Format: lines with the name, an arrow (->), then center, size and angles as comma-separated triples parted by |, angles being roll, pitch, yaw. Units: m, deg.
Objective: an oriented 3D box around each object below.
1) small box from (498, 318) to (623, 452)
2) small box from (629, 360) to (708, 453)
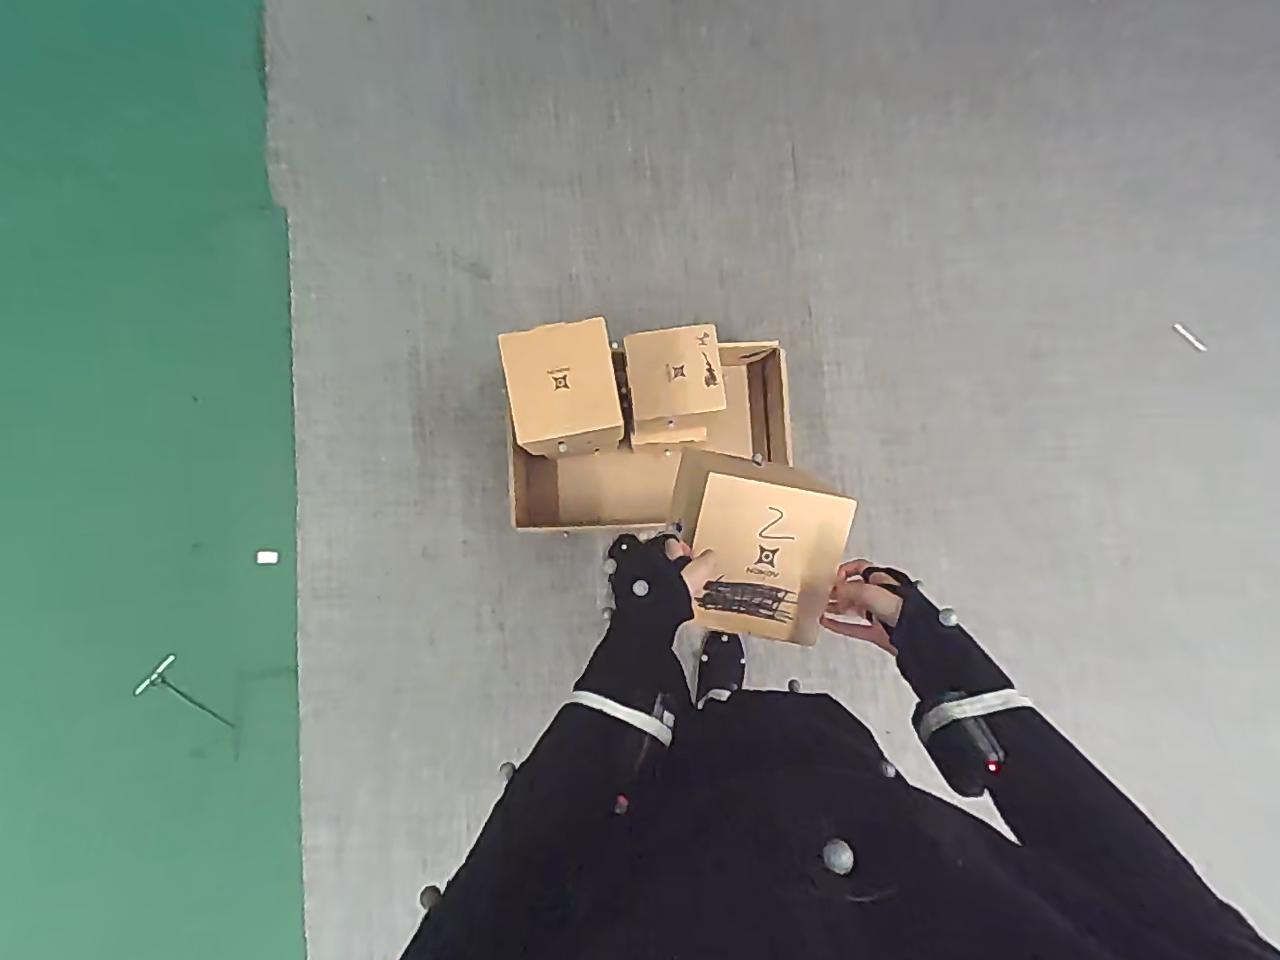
small box -> -0.123, -0.147, 0.902 | 0.168, 0.176, 0.179 | -11, 87, -1
small box -> 0.062, -0.161, 1.230 | 0.168, 0.176, 0.179 | -3, 87, 2
